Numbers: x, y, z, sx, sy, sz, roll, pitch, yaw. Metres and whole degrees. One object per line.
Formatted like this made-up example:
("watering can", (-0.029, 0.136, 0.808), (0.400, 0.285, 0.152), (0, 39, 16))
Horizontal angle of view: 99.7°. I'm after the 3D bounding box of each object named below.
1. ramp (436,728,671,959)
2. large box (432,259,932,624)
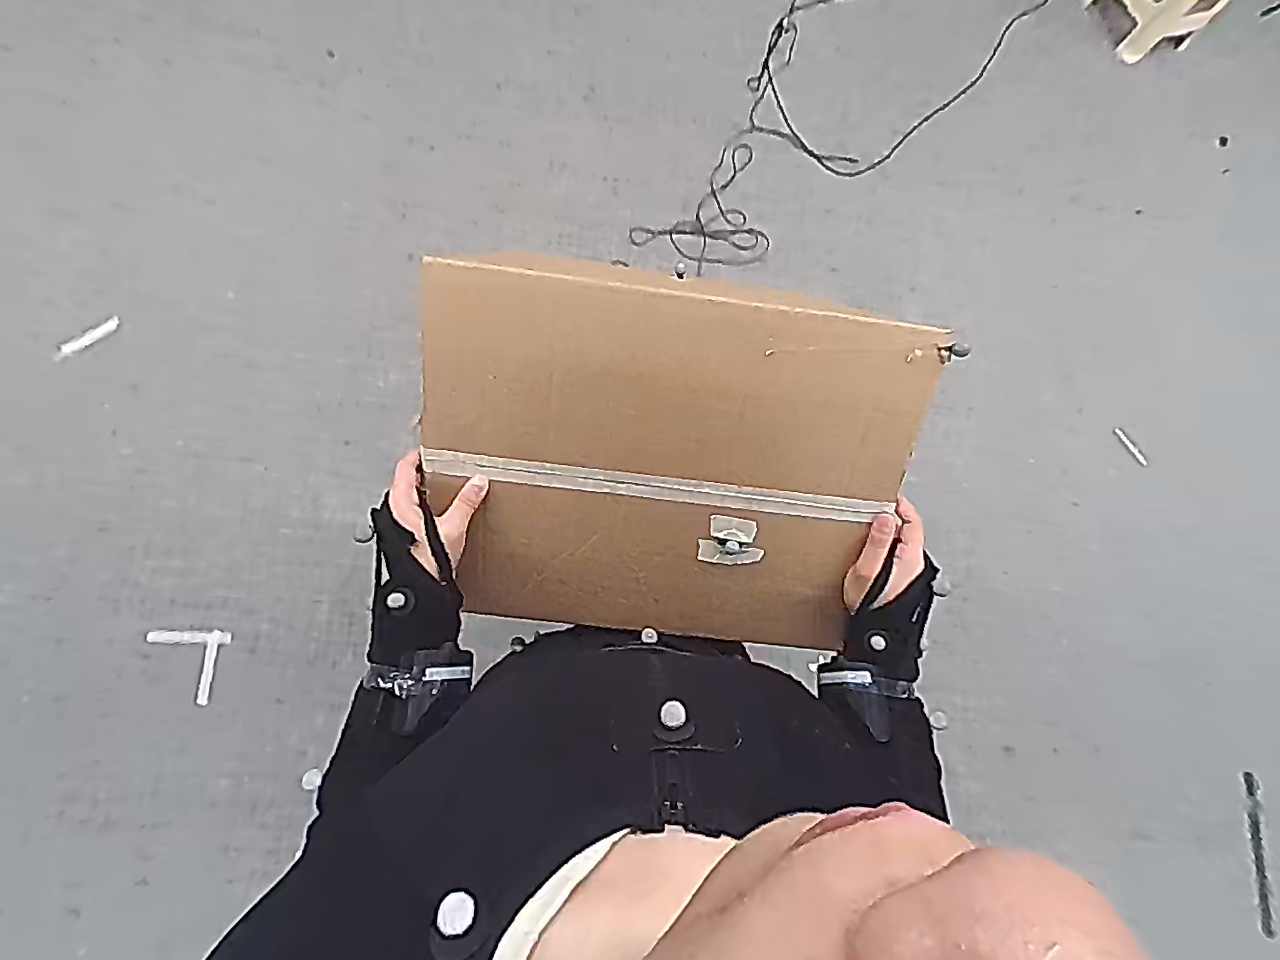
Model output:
("ramp", (-0.181, 1.065, 1.115), (0.509, 0.206, 0.991), (3, 77, -6))
("large box", (0.018, -0.067, 0.614), (0.408, 0.320, 0.320), (6, 114, -4))
